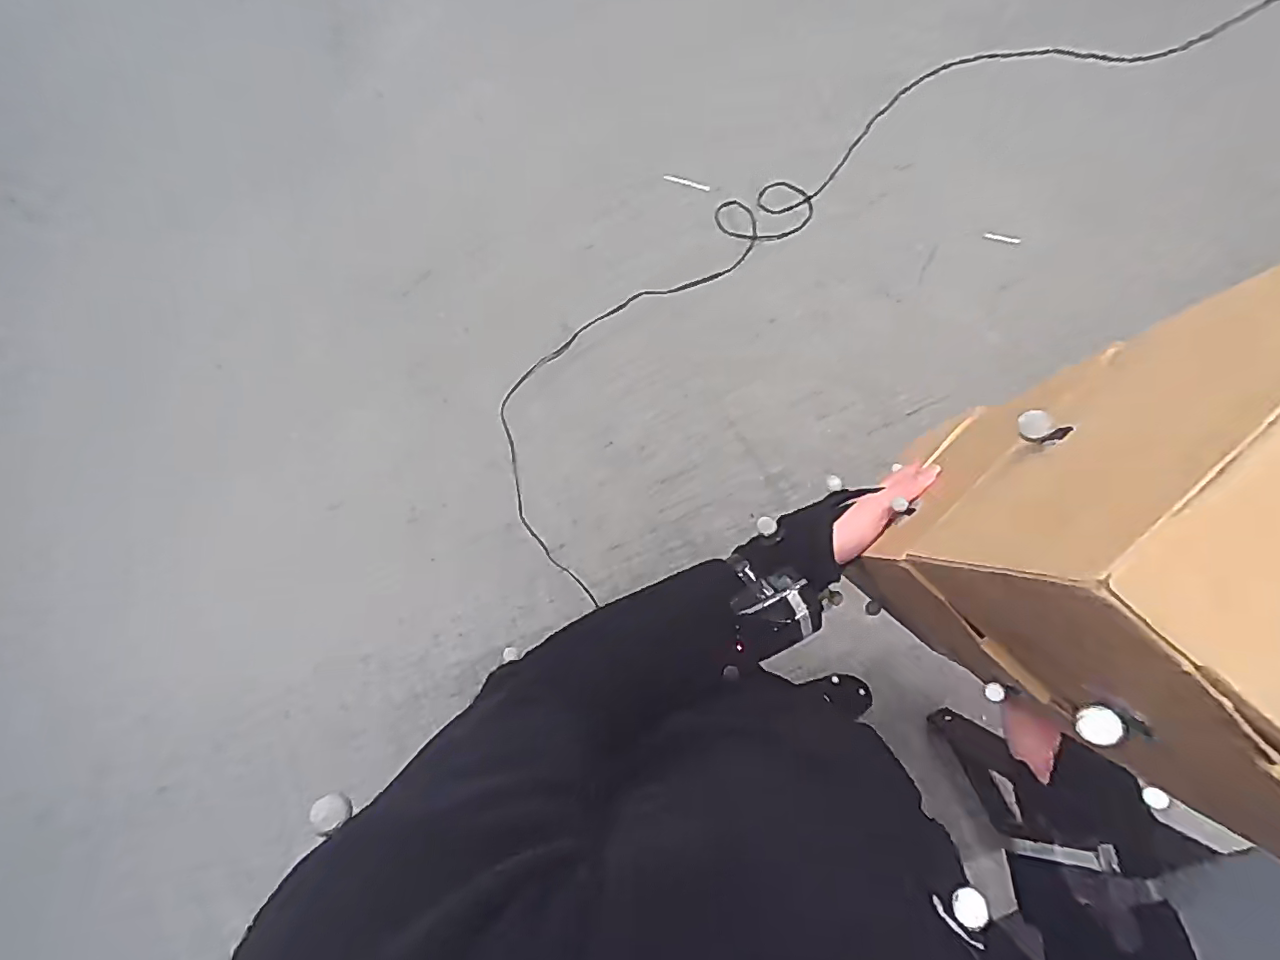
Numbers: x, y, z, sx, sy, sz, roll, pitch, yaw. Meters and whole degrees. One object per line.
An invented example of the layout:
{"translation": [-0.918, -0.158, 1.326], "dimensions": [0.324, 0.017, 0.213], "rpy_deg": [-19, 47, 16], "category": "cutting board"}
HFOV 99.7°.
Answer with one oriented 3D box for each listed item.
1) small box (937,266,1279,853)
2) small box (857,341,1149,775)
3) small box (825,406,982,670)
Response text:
{"translation": [0.250, 0.032, 0.207], "dimensions": [0.168, 0.176, 0.179], "rpy_deg": [44, 94, 10], "category": "small box"}
{"translation": [0.274, 0.046, 0.368], "dimensions": [0.168, 0.176, 0.179], "rpy_deg": [43, 91, 10], "category": "small box"}
{"translation": [0.304, 0.059, 0.527], "dimensions": [0.168, 0.176, 0.179], "rpy_deg": [41, 93, 12], "category": "small box"}
